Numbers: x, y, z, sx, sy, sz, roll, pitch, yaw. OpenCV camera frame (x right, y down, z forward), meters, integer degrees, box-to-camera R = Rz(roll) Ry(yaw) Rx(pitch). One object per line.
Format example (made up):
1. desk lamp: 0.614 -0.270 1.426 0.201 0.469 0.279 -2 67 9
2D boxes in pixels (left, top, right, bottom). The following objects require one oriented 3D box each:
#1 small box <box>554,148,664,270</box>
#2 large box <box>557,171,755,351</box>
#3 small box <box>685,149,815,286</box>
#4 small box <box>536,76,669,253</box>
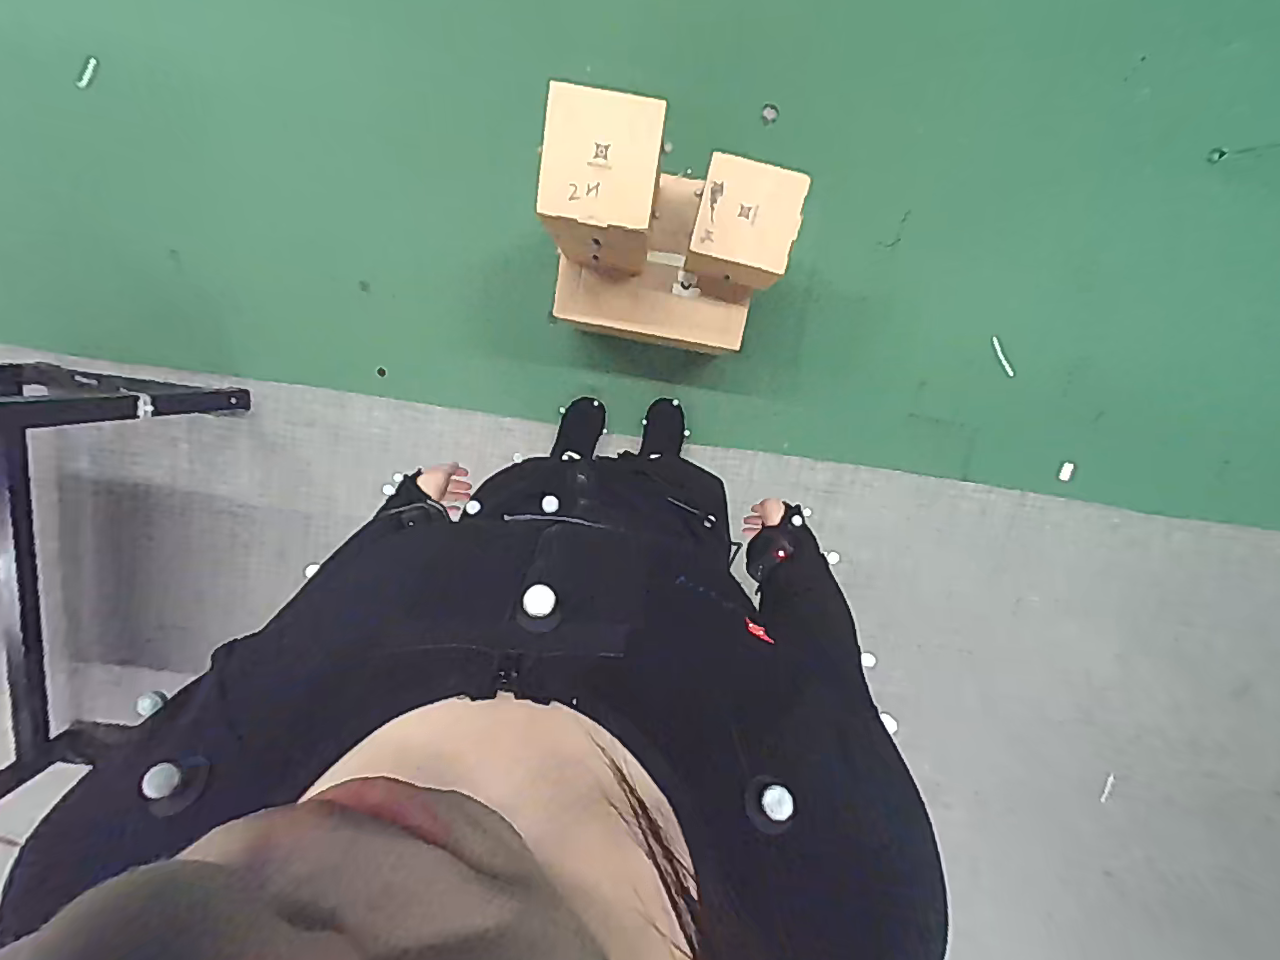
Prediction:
1. small box: -0.055 -0.505 0.993 0.168 0.176 0.179 10 101 -2
2. large box: 0.043 -0.486 1.242 0.408 0.320 0.320 9 102 -2
3. small box: 0.191 -0.468 0.994 0.179 0.176 0.168 15 100 -2
4. small box: -0.055 -0.469 0.831 0.168 0.176 0.179 9 101 -1
